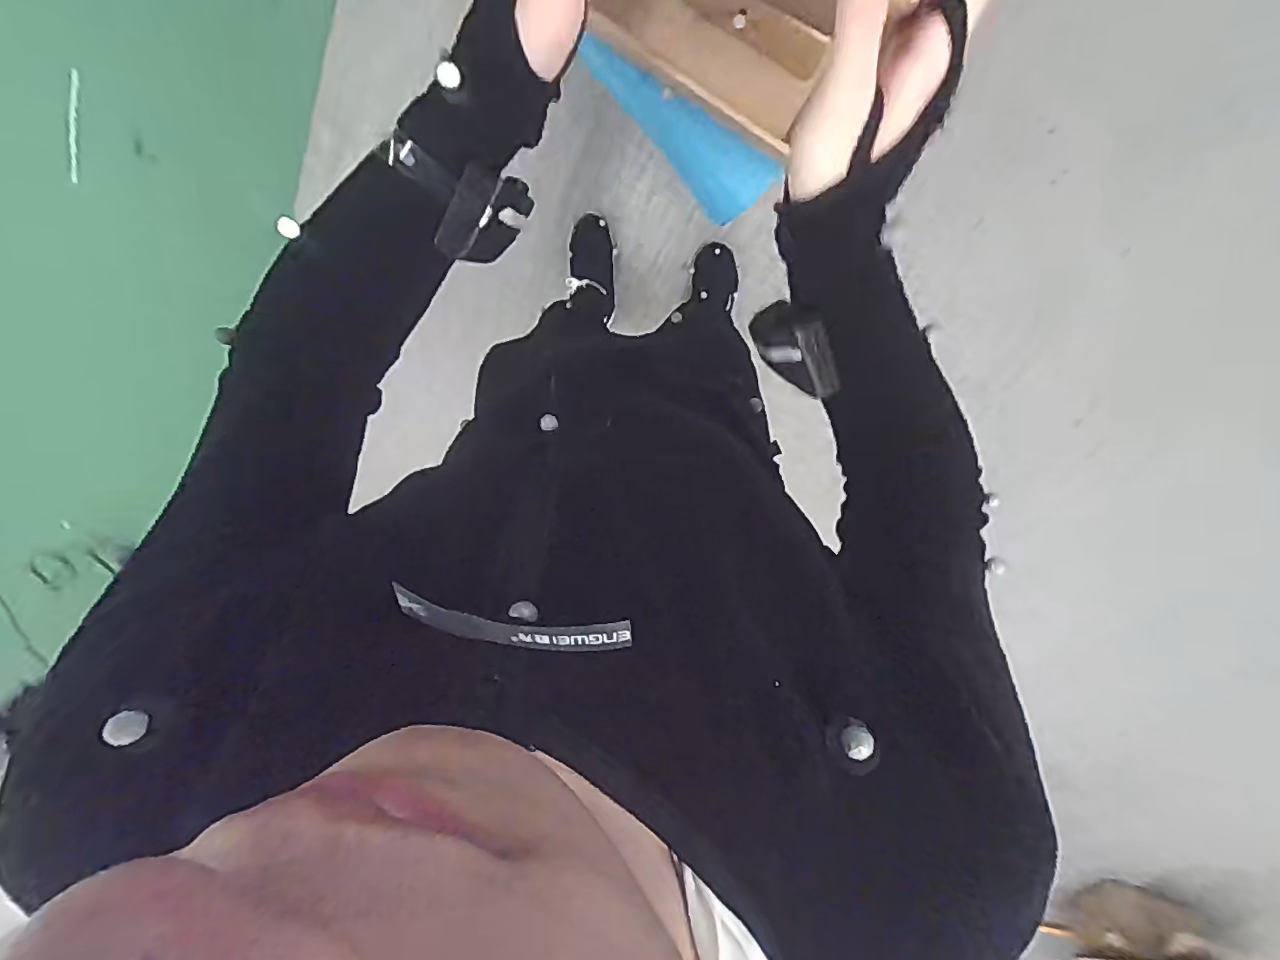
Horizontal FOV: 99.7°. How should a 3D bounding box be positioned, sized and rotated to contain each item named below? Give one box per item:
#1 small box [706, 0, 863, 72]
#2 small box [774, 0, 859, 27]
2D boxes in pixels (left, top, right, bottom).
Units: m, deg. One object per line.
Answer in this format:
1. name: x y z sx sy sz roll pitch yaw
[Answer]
1. small box: 0.176 -0.588 0.587 0.179 0.176 0.168 29 117 -3
2. small box: 0.147 -0.521 0.441 0.179 0.176 0.168 28 117 -3
